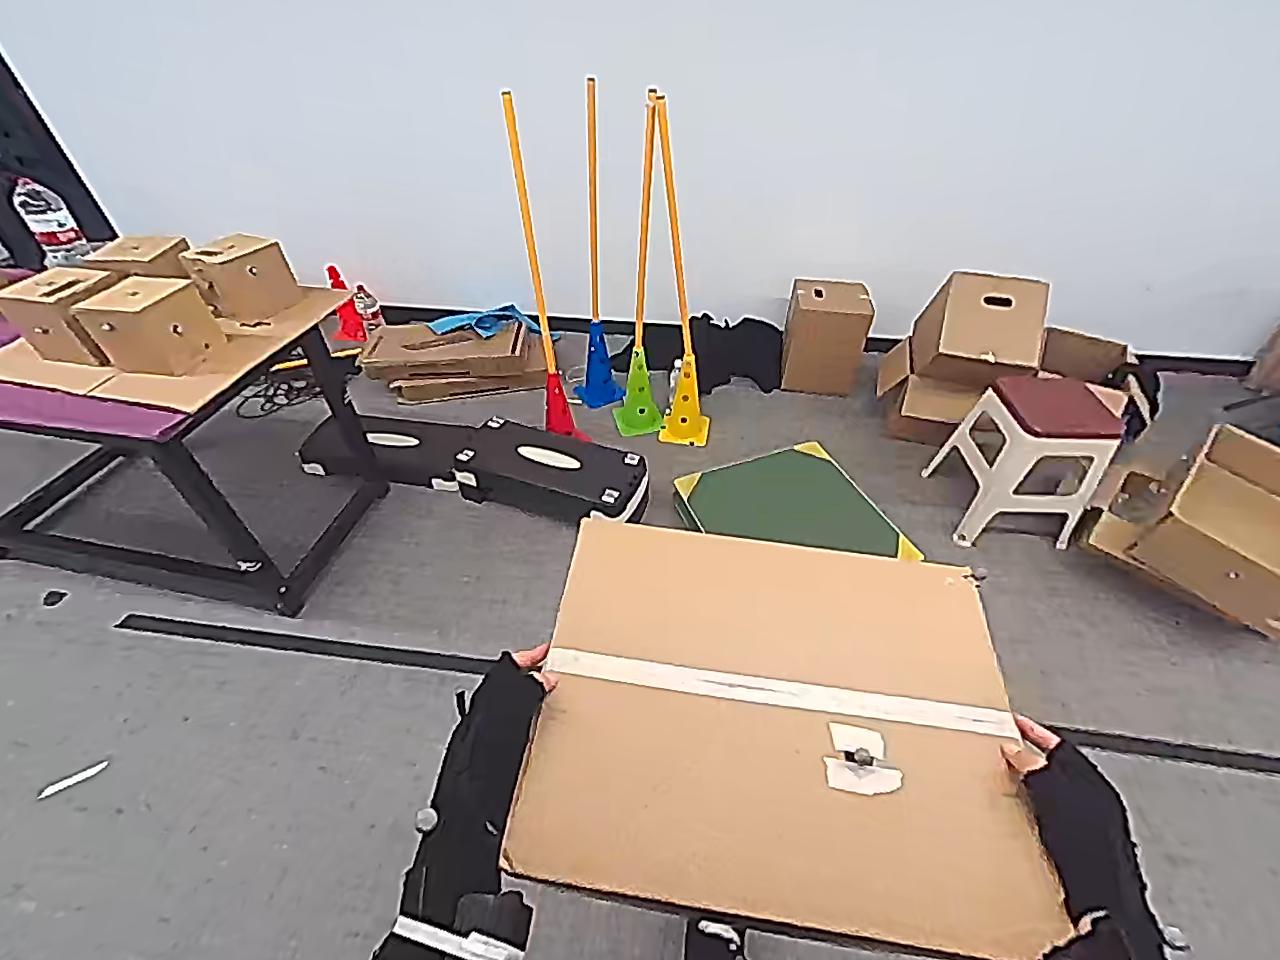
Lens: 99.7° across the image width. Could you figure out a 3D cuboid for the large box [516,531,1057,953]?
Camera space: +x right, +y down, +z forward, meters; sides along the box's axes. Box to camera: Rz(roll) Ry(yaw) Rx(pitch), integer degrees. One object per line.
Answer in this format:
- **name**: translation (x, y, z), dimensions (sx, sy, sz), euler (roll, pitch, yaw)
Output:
- **large box**: translation (0.114, 0.287, 0.600), dimensions (0.408, 0.320, 0.320), euler (7, 52, 4)
